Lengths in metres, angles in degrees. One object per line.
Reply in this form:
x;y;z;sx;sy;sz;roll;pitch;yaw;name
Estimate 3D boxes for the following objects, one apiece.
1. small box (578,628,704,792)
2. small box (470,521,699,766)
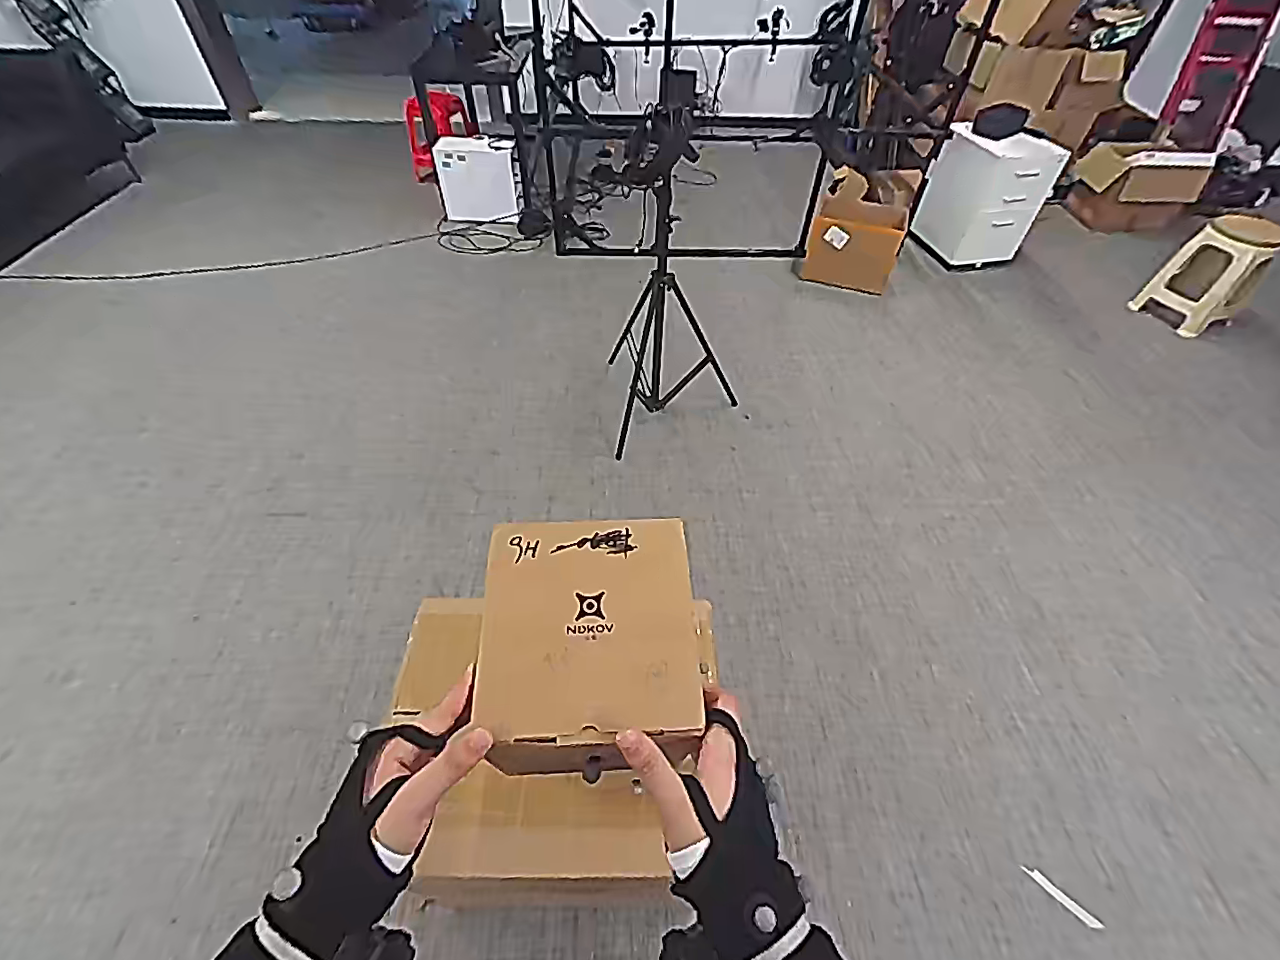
-0.004;0.327;0.768;0.168;0.176;0.179;-1;49;0;small box
-0.044;0.155;0.491;0.168;0.176;0.179;-1;56;-4;small box
